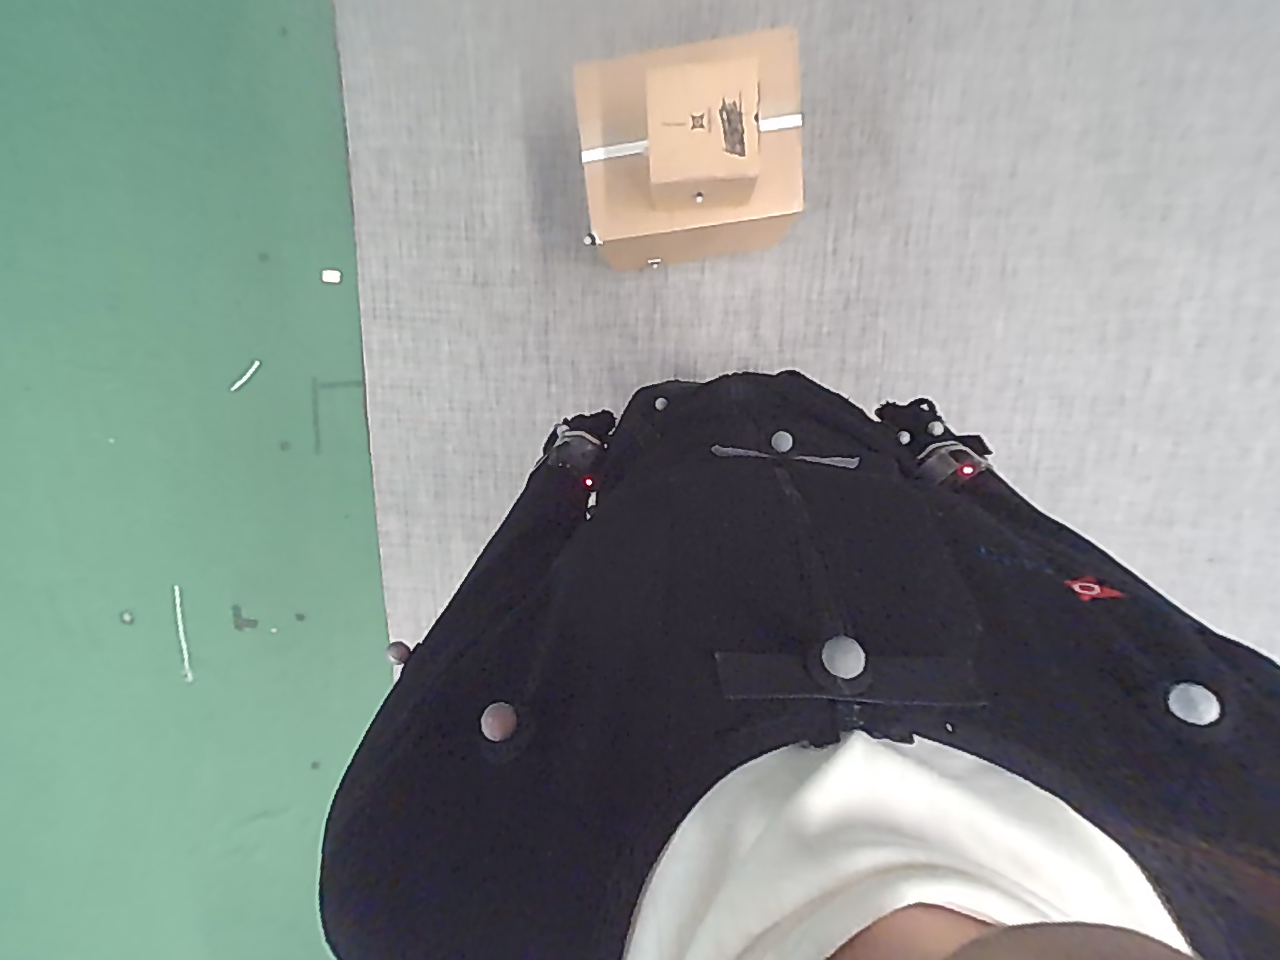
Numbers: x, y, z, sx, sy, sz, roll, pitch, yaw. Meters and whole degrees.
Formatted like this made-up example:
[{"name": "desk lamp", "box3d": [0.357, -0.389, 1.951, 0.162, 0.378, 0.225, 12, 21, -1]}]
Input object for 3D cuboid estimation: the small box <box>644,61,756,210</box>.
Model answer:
[{"name": "small box", "box3d": [0.102, -0.580, 0.932, 0.179, 0.176, 0.168, -1, 101, 6]}]
